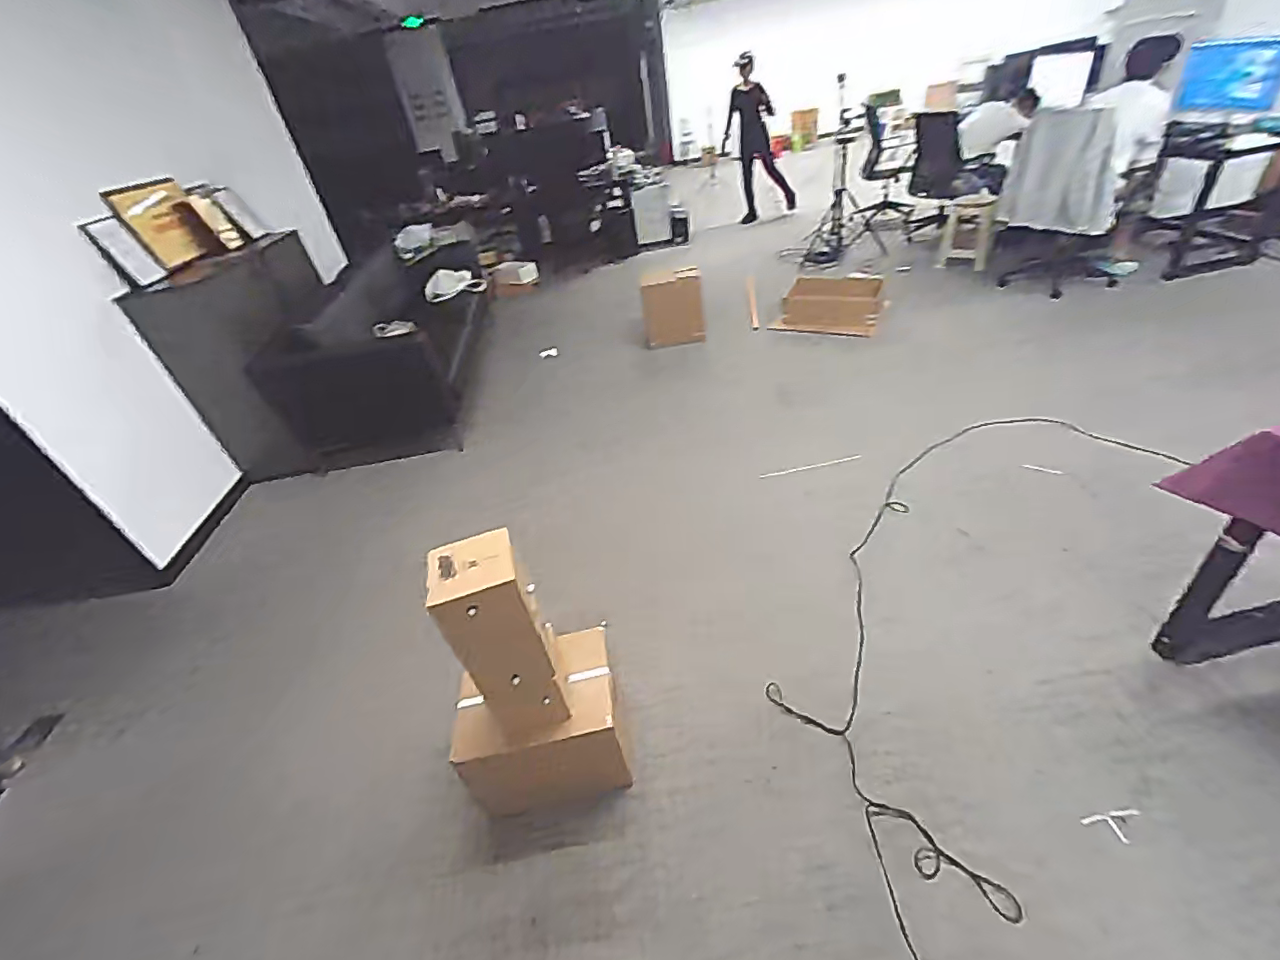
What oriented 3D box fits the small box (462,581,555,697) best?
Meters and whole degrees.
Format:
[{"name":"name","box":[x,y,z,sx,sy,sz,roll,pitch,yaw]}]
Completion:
[{"name":"small box","box":[-0.303,0.370,1.258,0.179,0.176,0.168,-16,38,-8]}]

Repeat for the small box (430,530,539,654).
[{"name":"small box","box":[-0.331,0.241,1.157,0.179,0.176,0.168,-17,38,-8]}]
